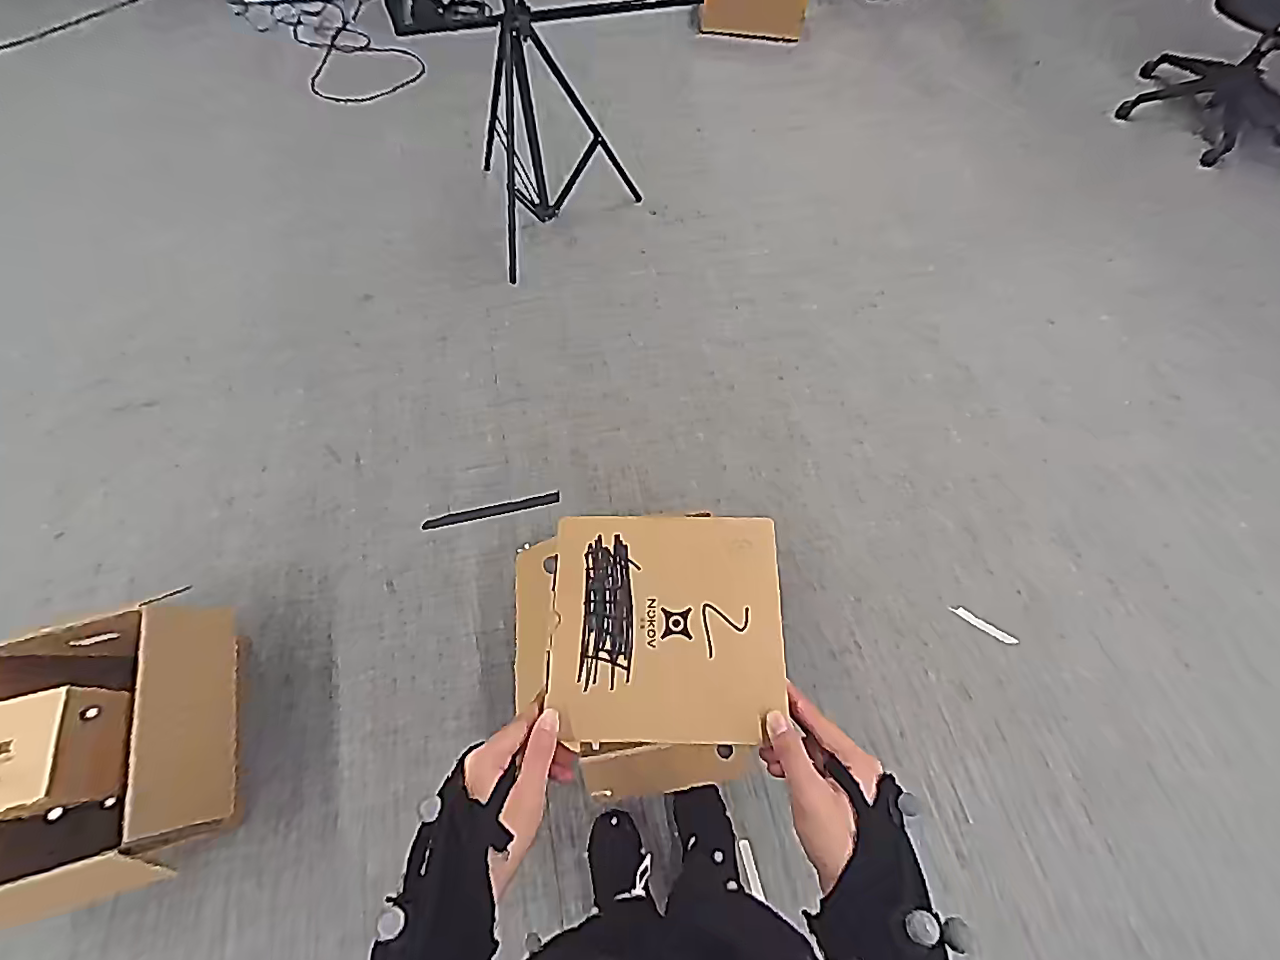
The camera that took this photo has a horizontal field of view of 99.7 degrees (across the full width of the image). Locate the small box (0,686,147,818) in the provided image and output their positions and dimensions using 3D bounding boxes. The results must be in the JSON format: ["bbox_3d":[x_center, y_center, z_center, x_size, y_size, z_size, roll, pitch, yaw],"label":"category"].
[{"bbox_3d":[-1.024,0.478,0.949,0.168,0.176,0.179,-13,65,-5],"label":"small box"}]
